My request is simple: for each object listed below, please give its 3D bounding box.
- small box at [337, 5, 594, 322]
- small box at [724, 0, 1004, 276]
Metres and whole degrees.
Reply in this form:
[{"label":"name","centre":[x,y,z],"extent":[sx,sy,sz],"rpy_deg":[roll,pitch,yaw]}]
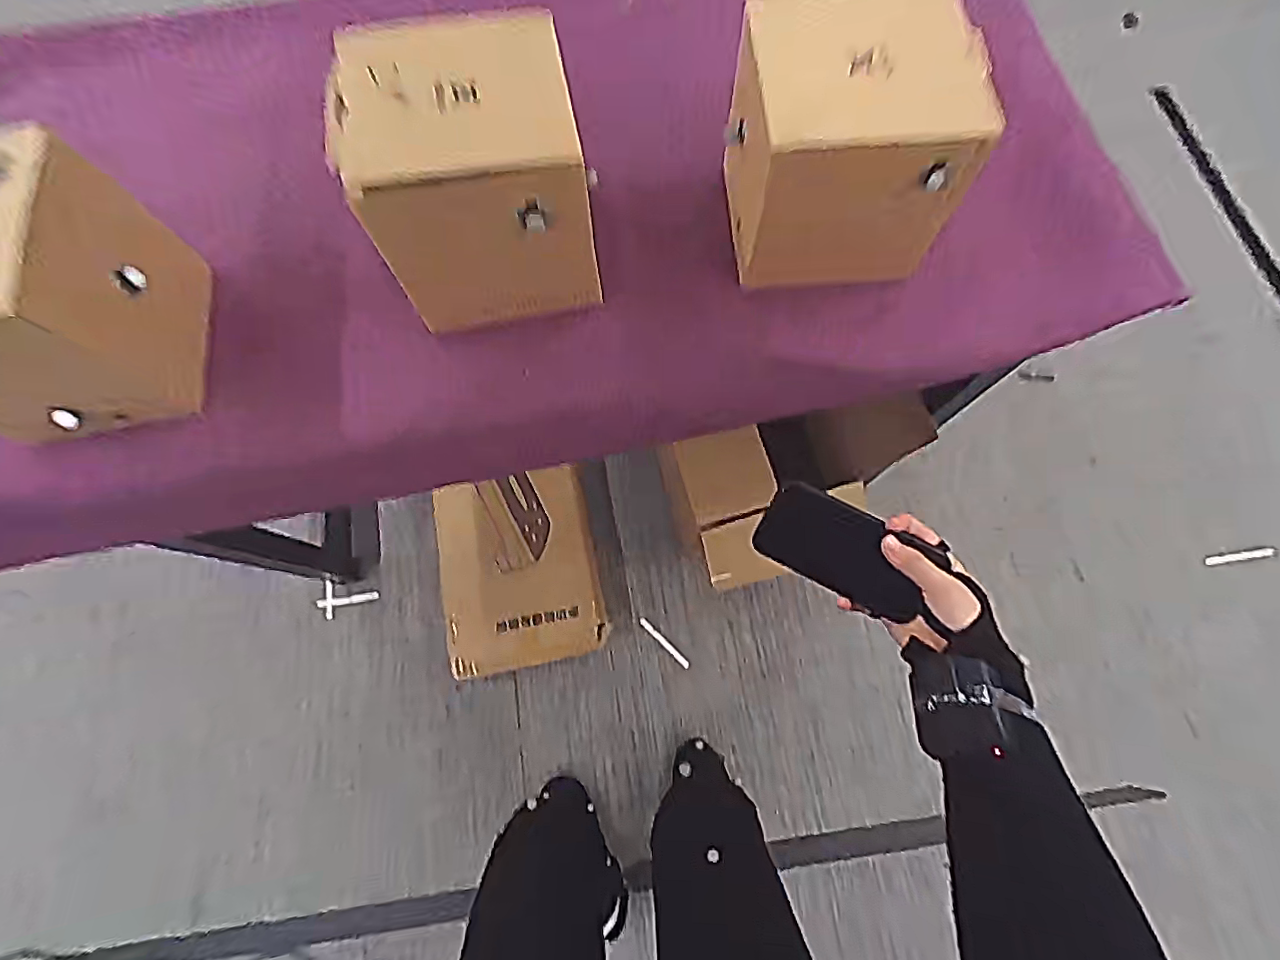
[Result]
[{"label":"small box","centre":[-0.140,-0.268,0.486],"extent":[0.179,0.176,0.168],"rpy_deg":[-11,70,-2]},{"label":"small box","centre":[0.176,-0.307,0.493],"extent":[0.179,0.176,0.168],"rpy_deg":[-4,73,-1]}]
